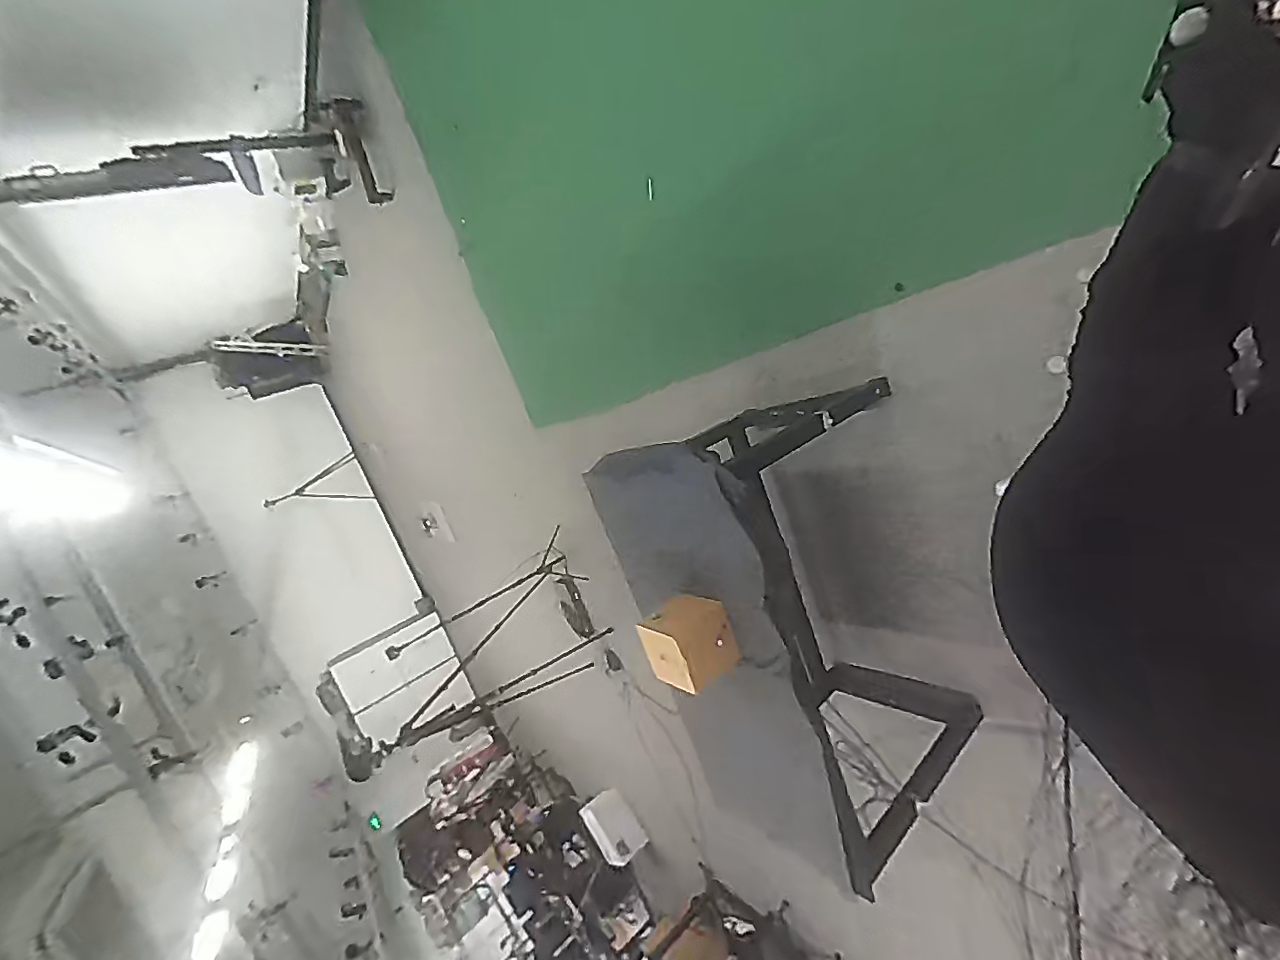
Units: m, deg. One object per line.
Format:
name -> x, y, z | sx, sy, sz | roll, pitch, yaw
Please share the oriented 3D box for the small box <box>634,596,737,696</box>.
small box -> 0.118, 0.418, 1.396 | 0.179, 0.176, 0.168 | -4, 110, 55
